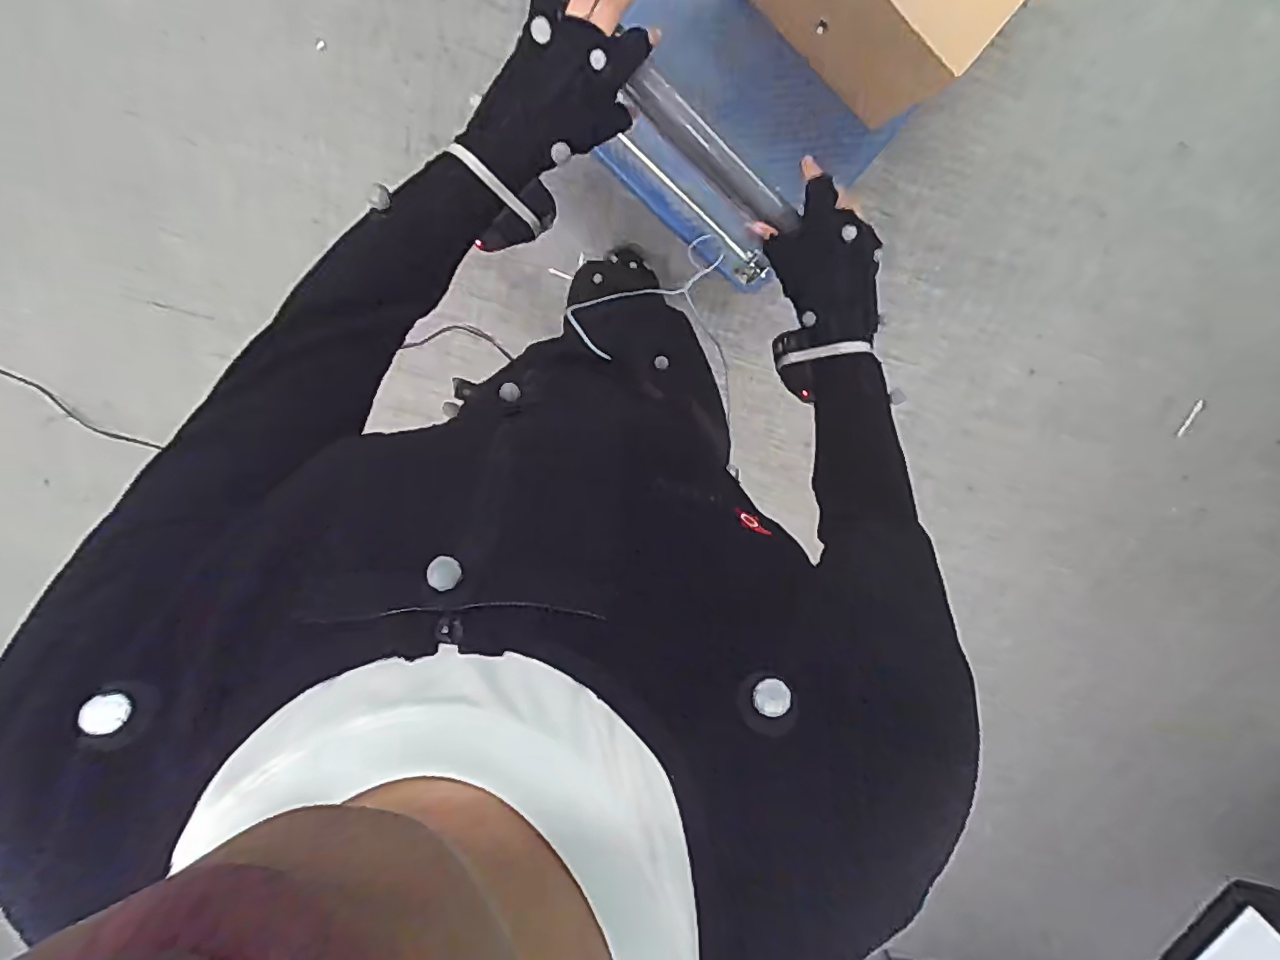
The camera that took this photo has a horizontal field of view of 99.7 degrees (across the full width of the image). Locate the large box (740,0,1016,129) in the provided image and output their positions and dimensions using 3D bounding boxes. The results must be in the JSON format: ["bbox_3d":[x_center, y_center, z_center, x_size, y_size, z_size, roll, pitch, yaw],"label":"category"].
[{"bbox_3d":[0.399,-0.873,0.868,0.408,0.320,0.320,36,104,-14],"label":"large box"}]
